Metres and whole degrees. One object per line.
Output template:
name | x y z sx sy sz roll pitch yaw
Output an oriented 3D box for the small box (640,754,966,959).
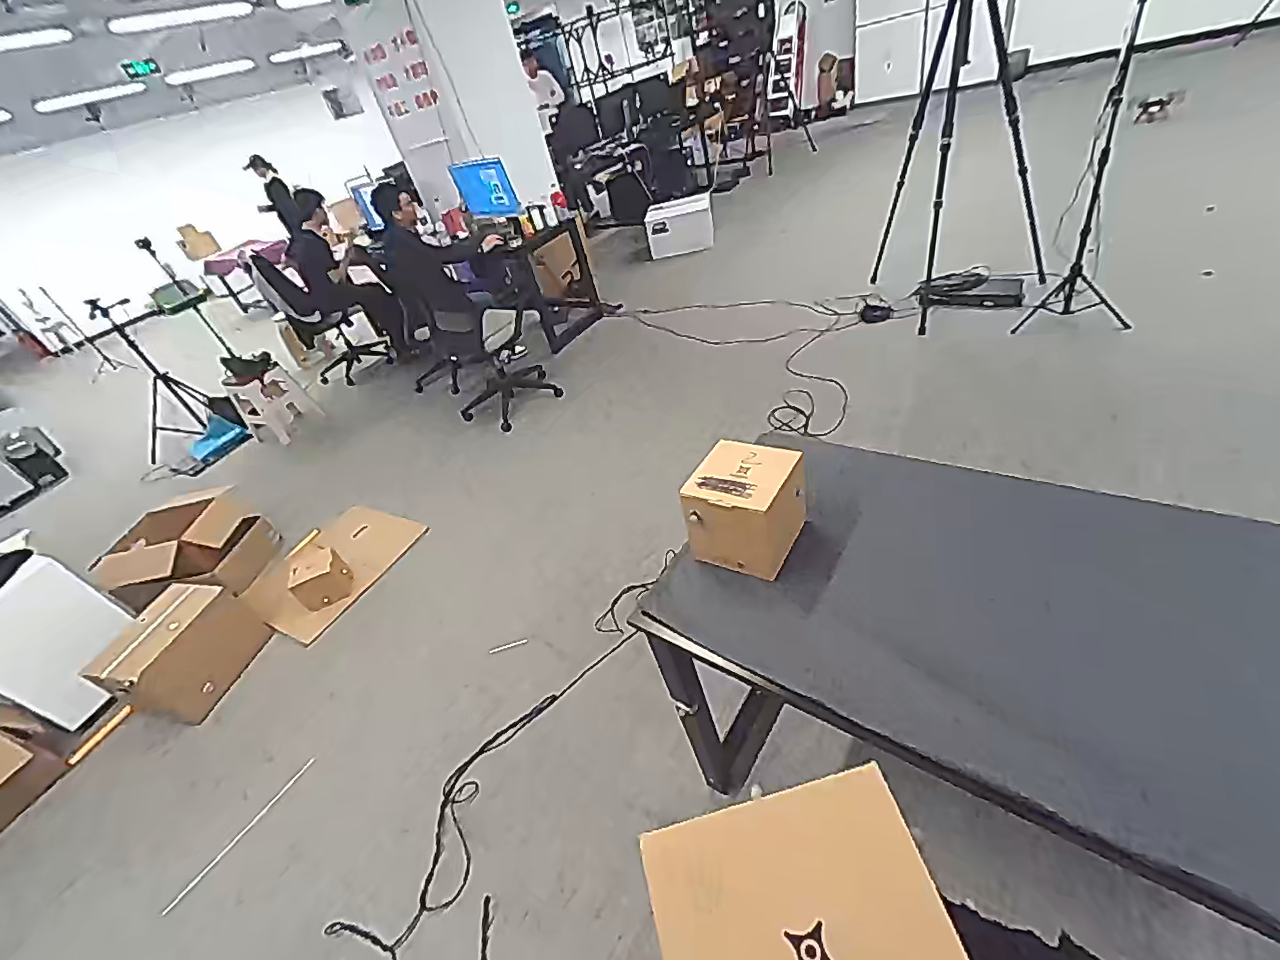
small box | 0.107 0.316 0.368 0.168 0.176 0.179 -16 53 -1
